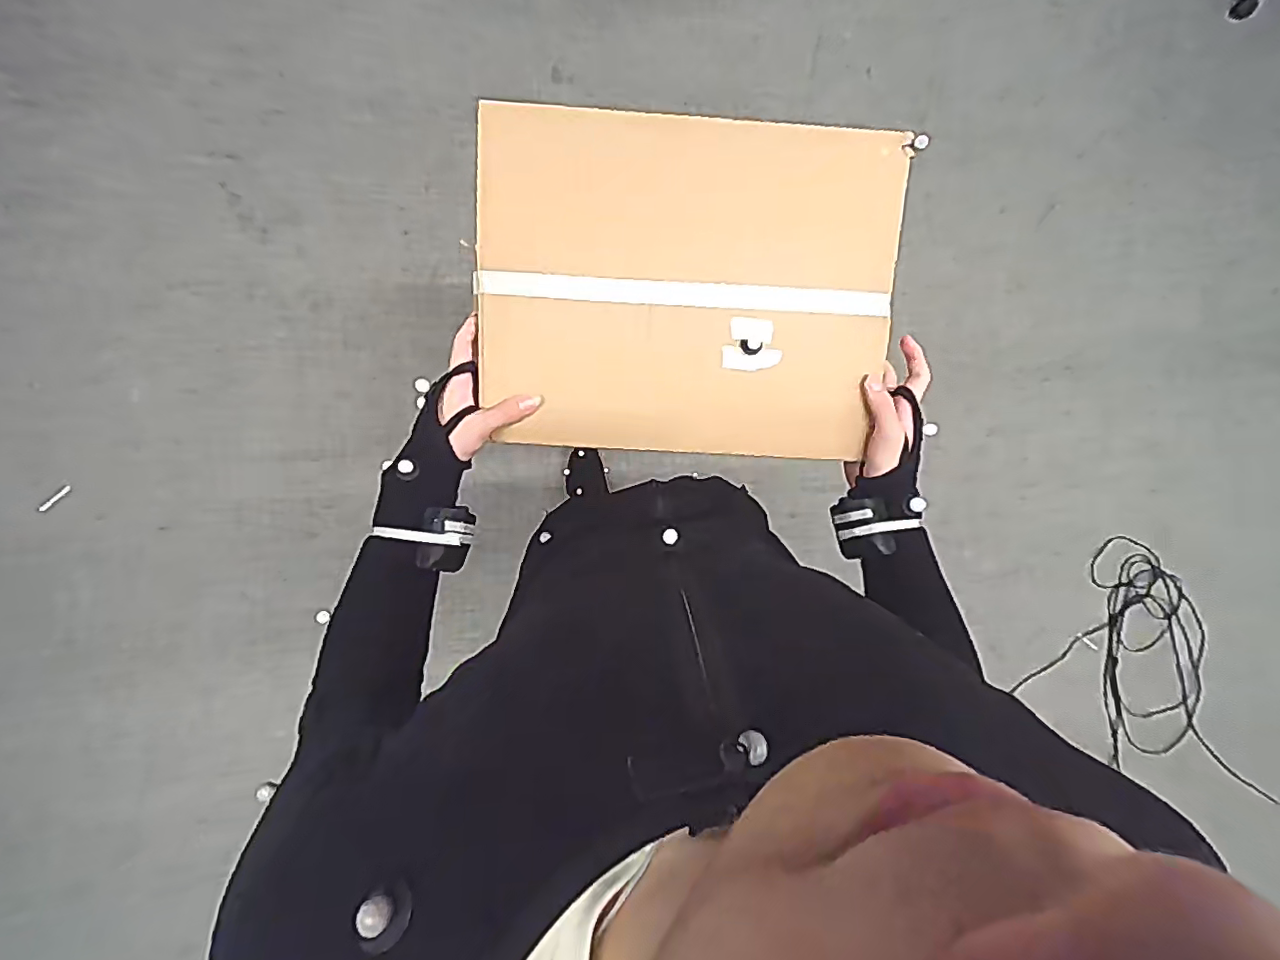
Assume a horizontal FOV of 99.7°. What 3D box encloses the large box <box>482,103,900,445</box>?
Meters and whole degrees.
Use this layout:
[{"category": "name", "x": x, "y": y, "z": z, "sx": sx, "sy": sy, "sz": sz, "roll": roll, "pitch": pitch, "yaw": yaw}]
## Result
[{"category": "large box", "x": 0.039, "y": -0.219, "z": 0.681, "sx": 0.408, "sy": 0.320, "sz": 0.320, "roll": 2, "pitch": 102, "yaw": -3}]
